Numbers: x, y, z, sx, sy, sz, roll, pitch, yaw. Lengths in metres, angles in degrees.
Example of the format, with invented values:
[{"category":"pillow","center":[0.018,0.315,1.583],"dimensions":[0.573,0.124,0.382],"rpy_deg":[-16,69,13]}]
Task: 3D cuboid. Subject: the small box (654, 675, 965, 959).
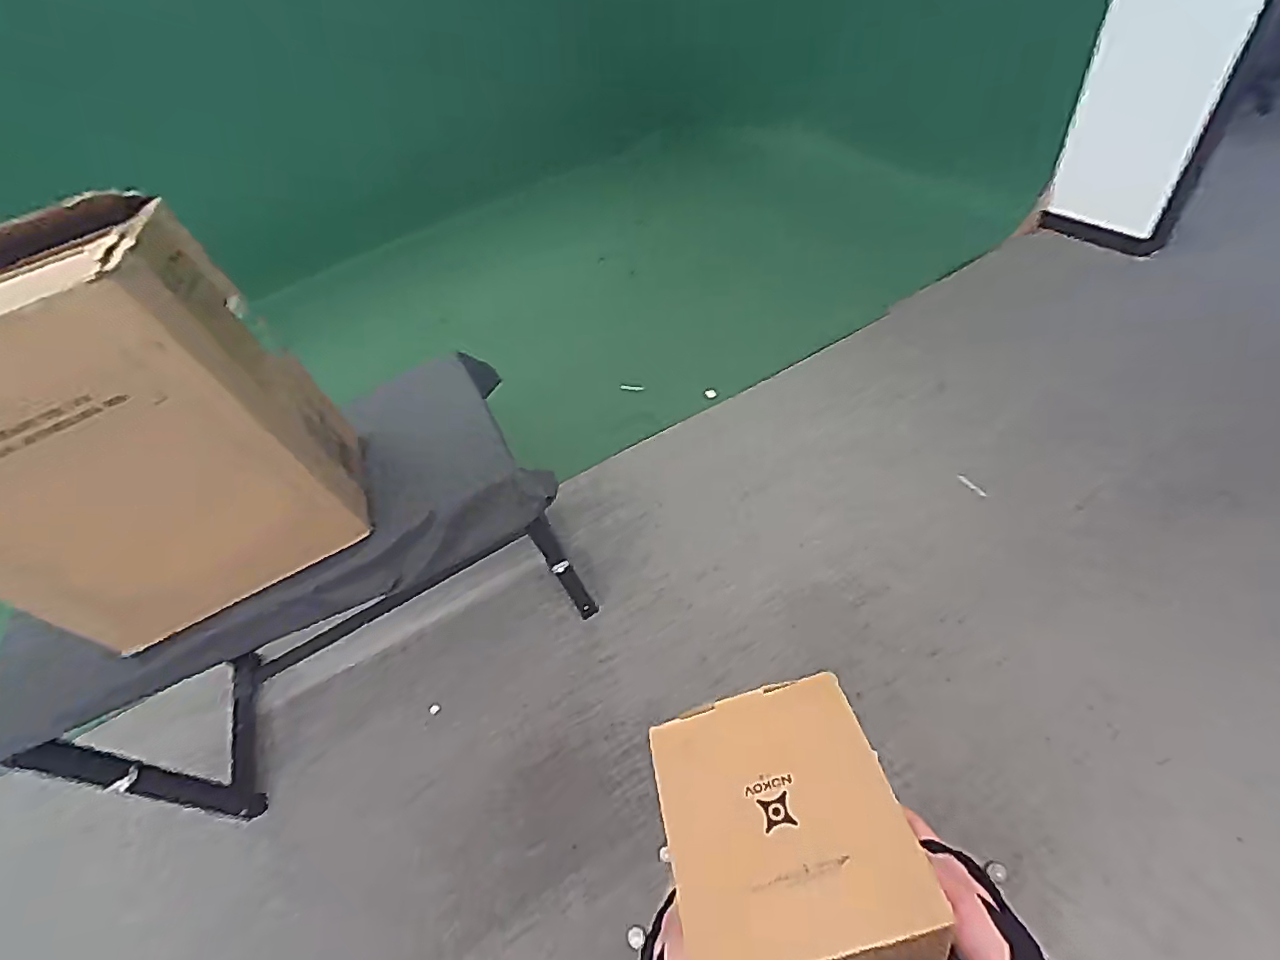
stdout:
[{"category":"small box","center":[0.123,0.297,0.435],"dimensions":[0.168,0.176,0.179],"rpy_deg":[-19,37,1]}]
